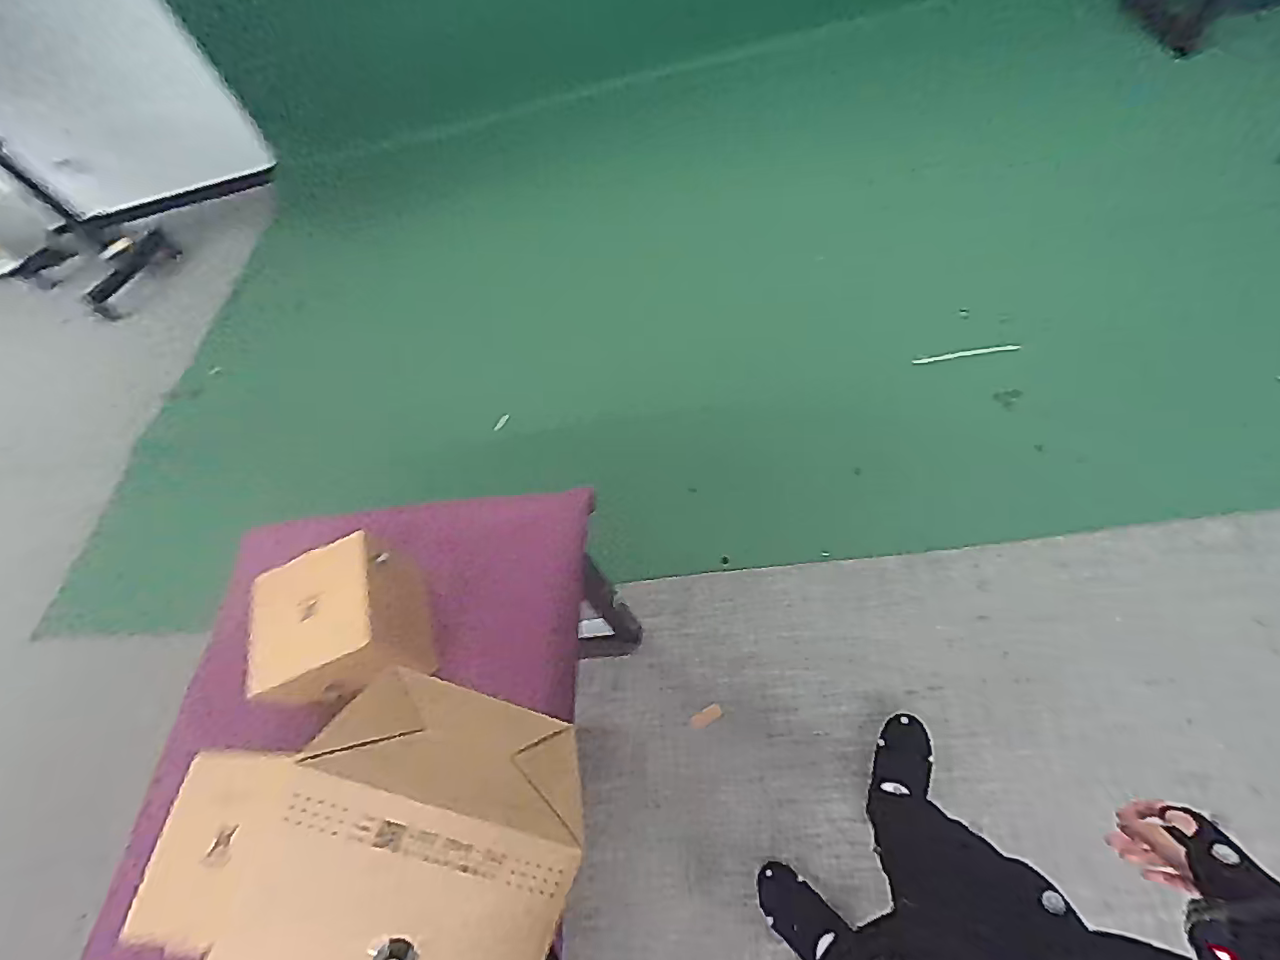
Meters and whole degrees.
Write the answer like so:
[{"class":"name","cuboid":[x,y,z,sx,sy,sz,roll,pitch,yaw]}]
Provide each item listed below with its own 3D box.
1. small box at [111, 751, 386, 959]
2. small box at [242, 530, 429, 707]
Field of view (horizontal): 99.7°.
[{"class":"small box","cuboid":[-0.435,0.428,0.638,0.168,0.176,0.179,-3,58,11]},{"class":"small box","cuboid":[-0.423,0.206,0.772,0.168,0.176,0.179,-24,56,-1]}]
